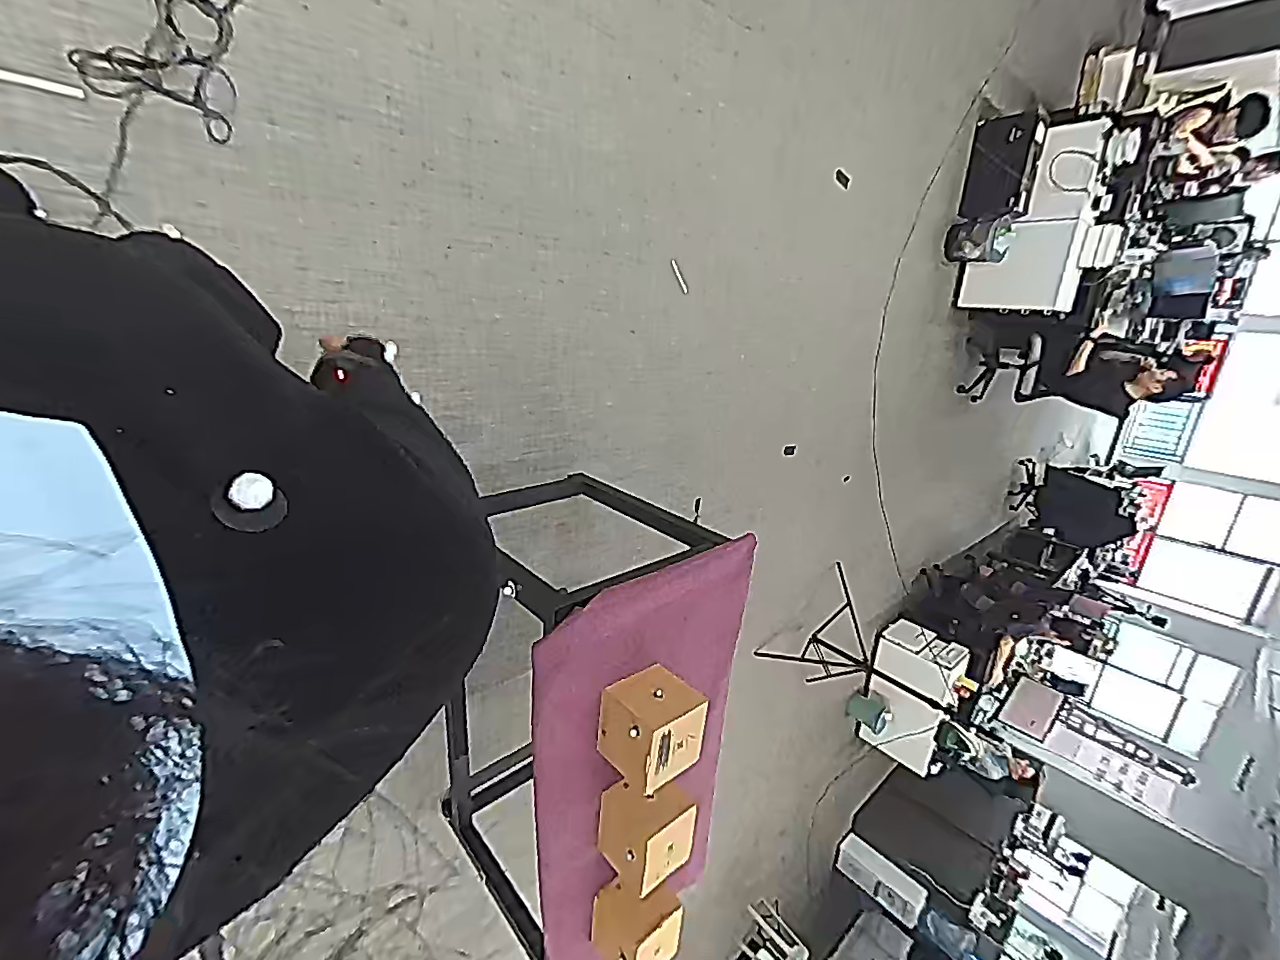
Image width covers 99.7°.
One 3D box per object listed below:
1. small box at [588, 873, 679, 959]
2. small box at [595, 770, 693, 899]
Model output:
[{"bbox_3d":[-0.021,1.169,1.418,0.168,0.176,0.179,-9,110,-43],"label":"small box"},{"bbox_3d":[0.006,0.848,1.322,0.168,0.176,0.179,-8,111,-41],"label":"small box"}]
